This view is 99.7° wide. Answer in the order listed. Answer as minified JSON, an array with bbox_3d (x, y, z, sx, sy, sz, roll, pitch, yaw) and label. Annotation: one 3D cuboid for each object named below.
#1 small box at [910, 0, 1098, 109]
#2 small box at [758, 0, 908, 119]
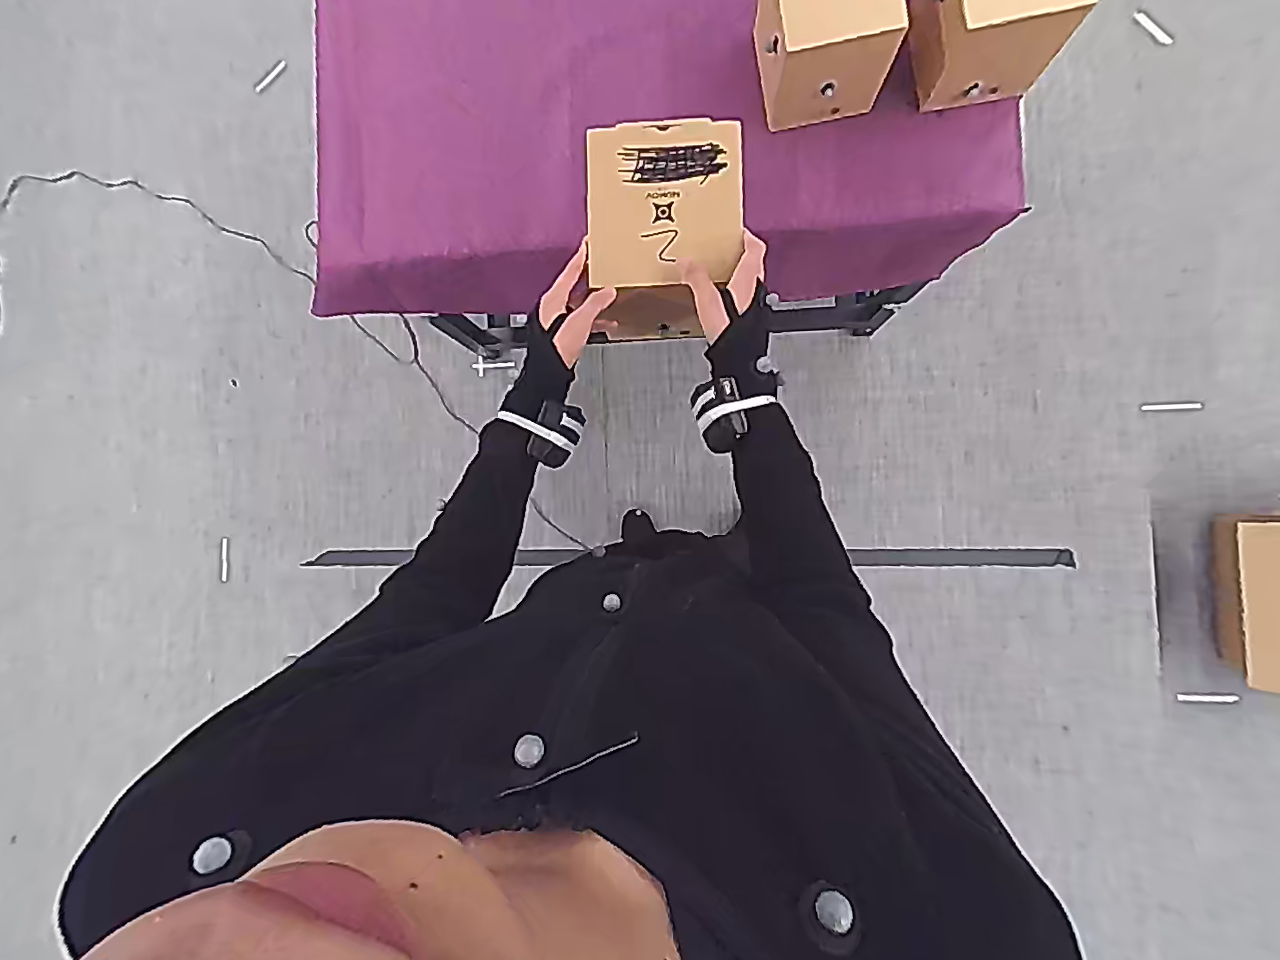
[{"bbox_3d":[0.516,-0.696,0.792,0.168,0.176,0.179,-6,87,7],"label":"small box"},{"bbox_3d":[0.278,-0.683,0.815,0.168,0.176,0.179,-8,87,5],"label":"small box"}]
